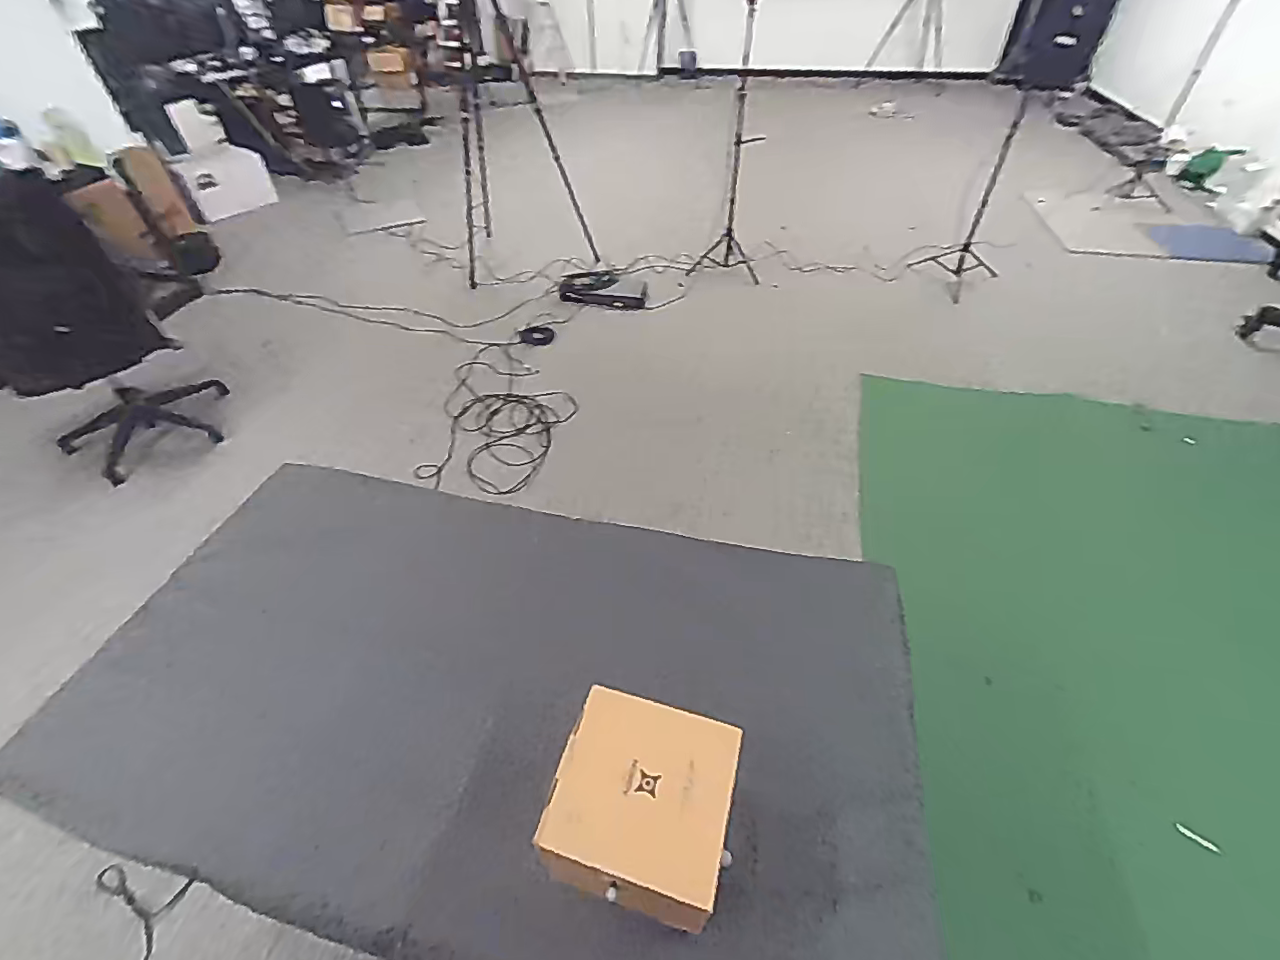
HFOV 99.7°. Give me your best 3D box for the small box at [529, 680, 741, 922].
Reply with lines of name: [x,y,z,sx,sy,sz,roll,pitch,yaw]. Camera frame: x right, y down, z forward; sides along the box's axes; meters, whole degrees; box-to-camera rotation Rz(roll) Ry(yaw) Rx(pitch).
small box: [0.002,0.354,0.595,0.179,0.176,0.168,12,47,12]
